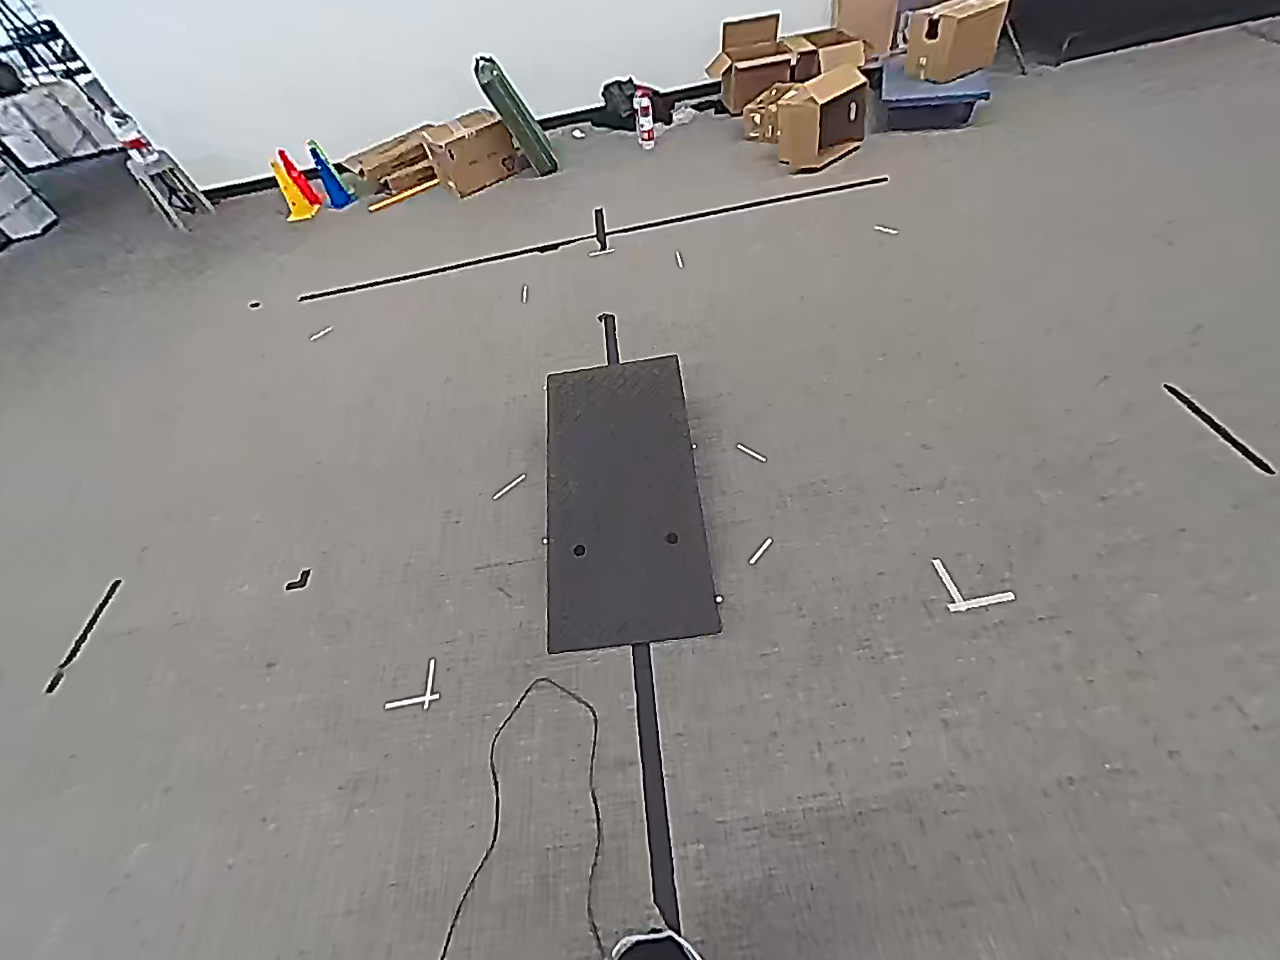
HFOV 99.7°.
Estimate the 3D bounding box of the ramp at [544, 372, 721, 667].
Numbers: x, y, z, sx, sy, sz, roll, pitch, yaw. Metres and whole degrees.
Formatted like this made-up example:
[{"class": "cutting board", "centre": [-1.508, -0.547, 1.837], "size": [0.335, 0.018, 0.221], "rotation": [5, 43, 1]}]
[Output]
[{"class": "ramp", "centre": [-0.062, 0.067, 1.761], "size": [0.509, 0.206, 0.991], "rotation": [-10, 49, 2]}]
